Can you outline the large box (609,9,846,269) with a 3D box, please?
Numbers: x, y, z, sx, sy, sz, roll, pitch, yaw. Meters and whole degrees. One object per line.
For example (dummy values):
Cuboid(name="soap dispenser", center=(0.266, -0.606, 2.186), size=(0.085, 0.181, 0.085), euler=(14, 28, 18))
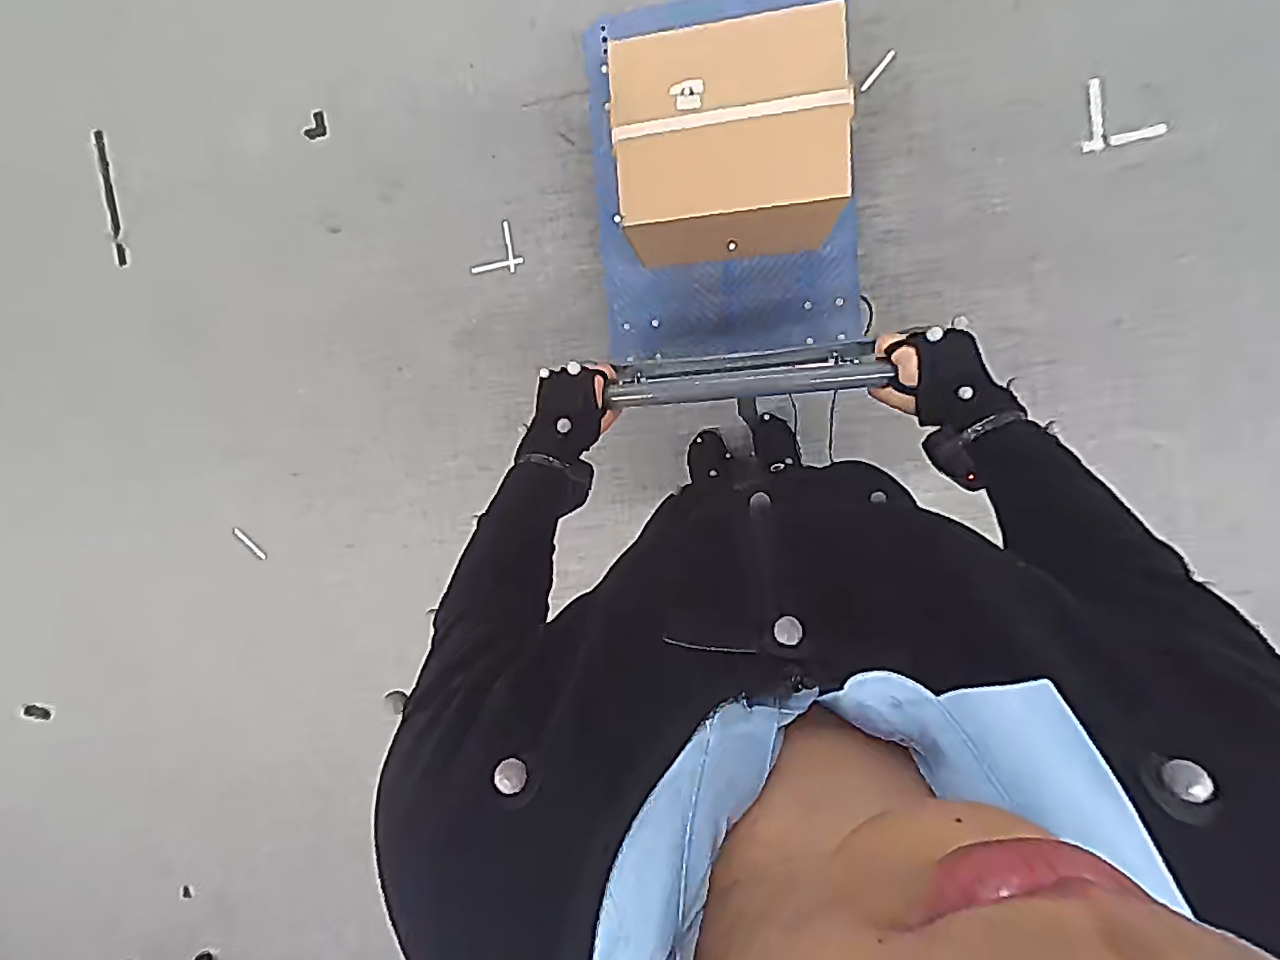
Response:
Cuboid(name="large box", center=(0.177, -0.650, 1.107), size=(0.408, 0.320, 0.320), euler=(-4, 95, 10))
